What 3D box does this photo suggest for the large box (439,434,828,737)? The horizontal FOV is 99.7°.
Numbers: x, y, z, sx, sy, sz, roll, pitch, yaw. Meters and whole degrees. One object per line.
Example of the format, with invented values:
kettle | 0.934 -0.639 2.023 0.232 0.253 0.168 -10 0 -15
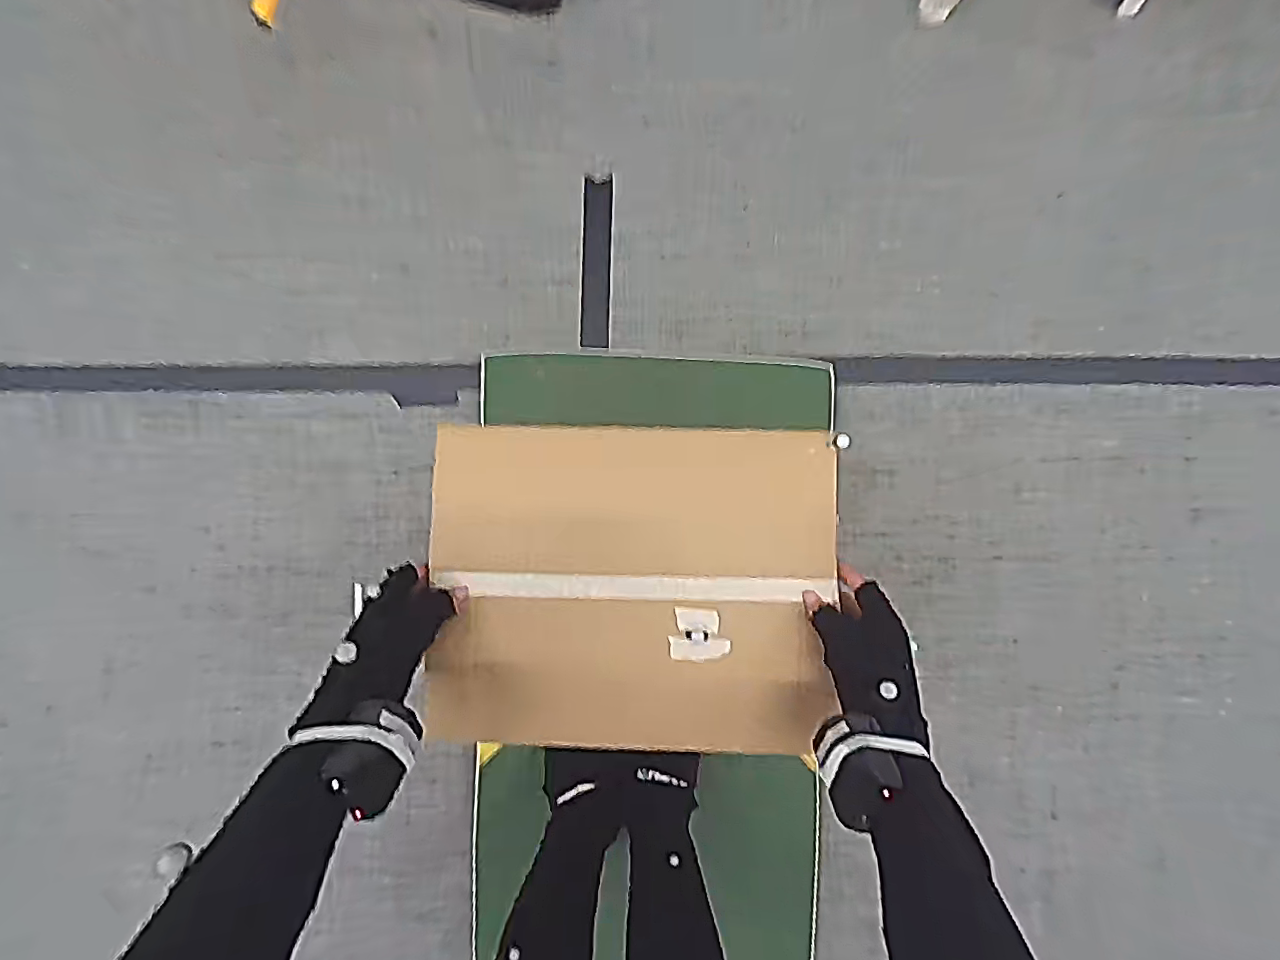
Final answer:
large box | -0.007 0.121 0.709 0.408 0.320 0.320 1 86 1
